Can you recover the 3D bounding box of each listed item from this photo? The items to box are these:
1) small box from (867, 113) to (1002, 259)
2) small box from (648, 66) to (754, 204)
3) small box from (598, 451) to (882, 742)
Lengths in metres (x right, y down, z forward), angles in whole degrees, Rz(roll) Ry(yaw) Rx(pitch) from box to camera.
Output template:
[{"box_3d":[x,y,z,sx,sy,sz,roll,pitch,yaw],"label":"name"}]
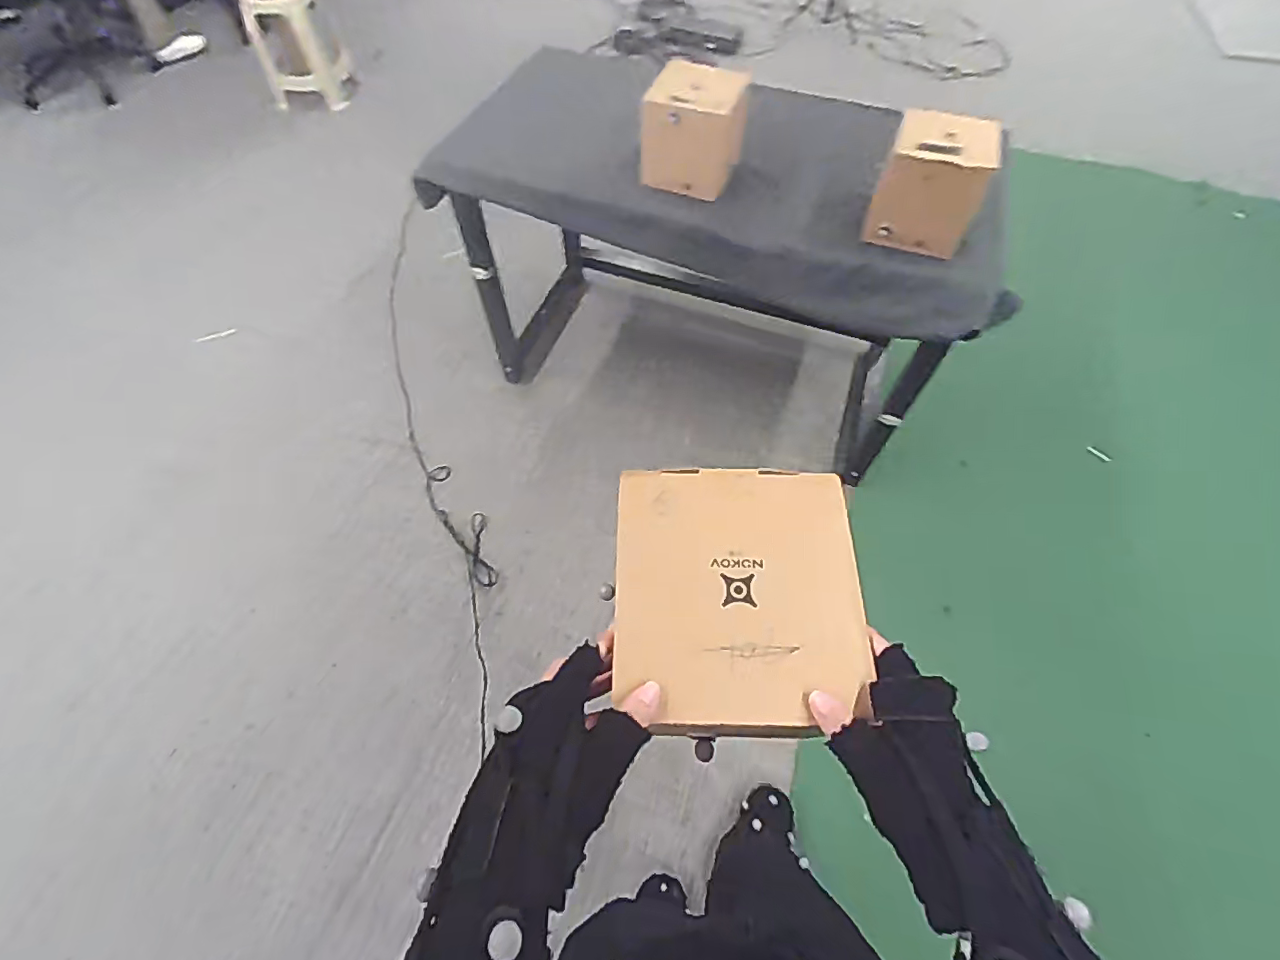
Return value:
[{"box_3d":[0.540,-0.543,1.007,0.168,0.176,0.179,19,59,11],"label":"small box"},{"box_3d":[0.118,-0.699,1.101,0.168,0.176,0.179,18,59,11],"label":"small box"},{"box_3d":[0.061,0.097,0.417,0.168,0.176,0.179,2,62,2],"label":"small box"}]
